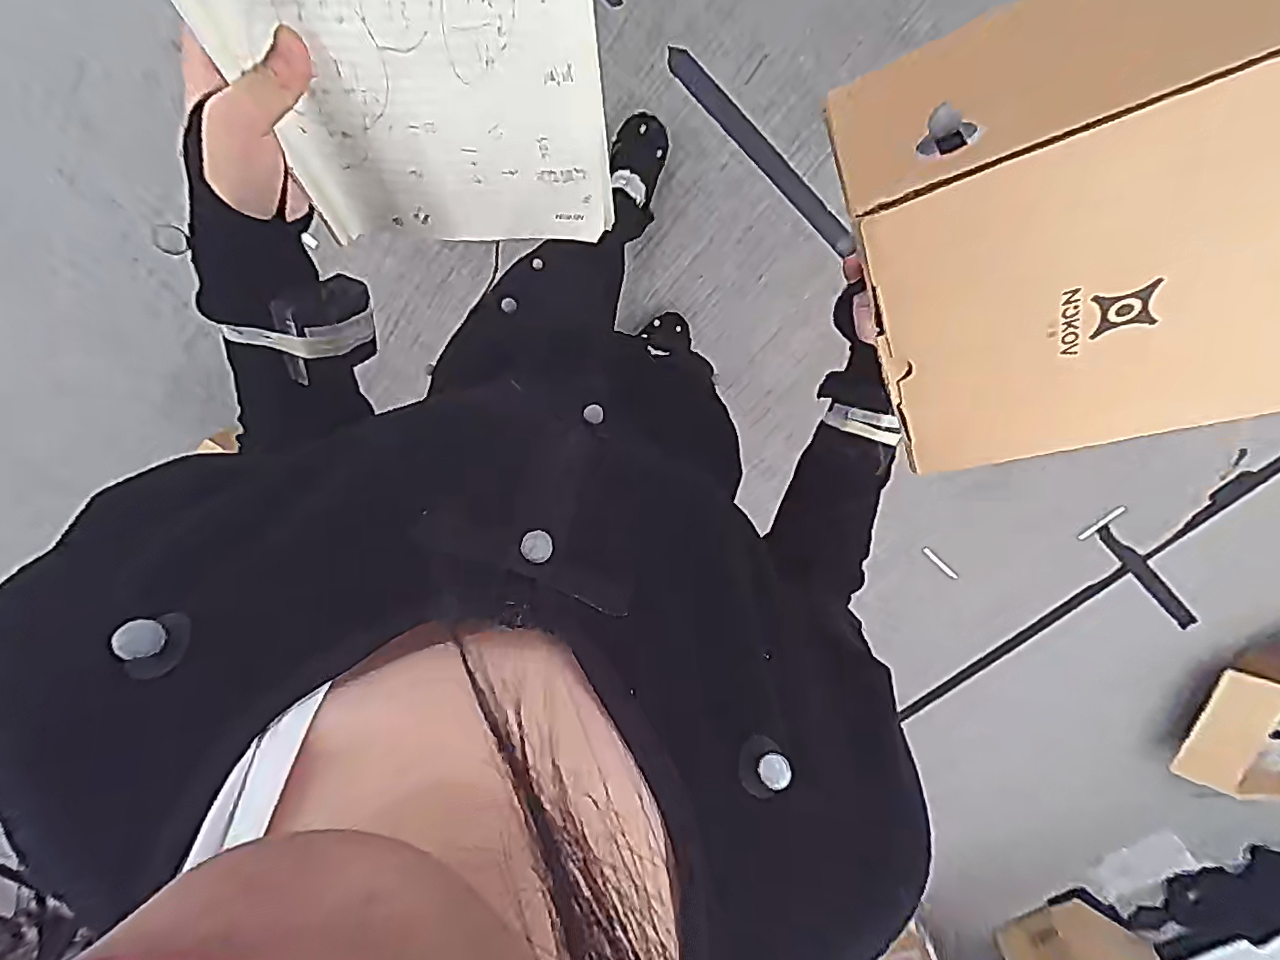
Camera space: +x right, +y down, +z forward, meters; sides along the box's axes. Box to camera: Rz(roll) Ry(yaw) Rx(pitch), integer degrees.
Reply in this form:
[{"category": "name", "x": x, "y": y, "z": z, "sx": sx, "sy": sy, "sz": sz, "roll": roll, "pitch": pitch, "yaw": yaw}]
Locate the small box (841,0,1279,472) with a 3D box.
[{"category": "small box", "x": 0.215, "y": -0.132, "z": 0.276, "sx": 0.179, "sy": 0.176, "sz": 0.168, "roll": -12, "pitch": 135, "yaw": 27}]
